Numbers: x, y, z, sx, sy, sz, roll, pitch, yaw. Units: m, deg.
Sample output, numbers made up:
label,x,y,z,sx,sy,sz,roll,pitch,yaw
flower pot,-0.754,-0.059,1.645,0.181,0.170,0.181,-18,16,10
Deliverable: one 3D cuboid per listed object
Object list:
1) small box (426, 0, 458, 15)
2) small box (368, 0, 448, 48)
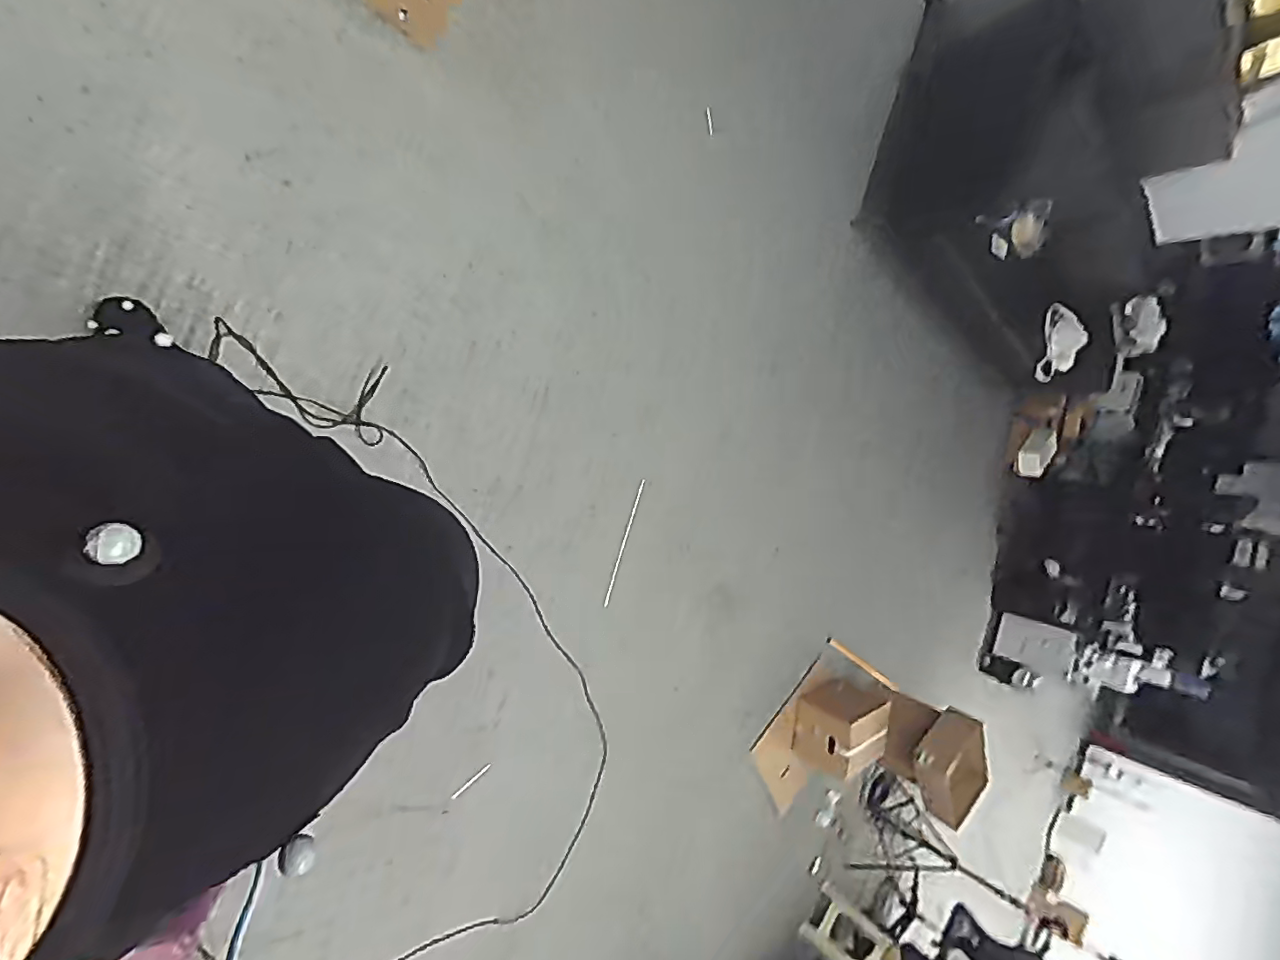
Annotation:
label,x,y,z,sx,sy,sz,roll,pitch,yaw
small box,-0.414,-1.125,1.109,0.168,0.176,0.179,26,81,-40
small box,-0.516,-1.153,1.237,0.168,0.176,0.179,24,83,-40
